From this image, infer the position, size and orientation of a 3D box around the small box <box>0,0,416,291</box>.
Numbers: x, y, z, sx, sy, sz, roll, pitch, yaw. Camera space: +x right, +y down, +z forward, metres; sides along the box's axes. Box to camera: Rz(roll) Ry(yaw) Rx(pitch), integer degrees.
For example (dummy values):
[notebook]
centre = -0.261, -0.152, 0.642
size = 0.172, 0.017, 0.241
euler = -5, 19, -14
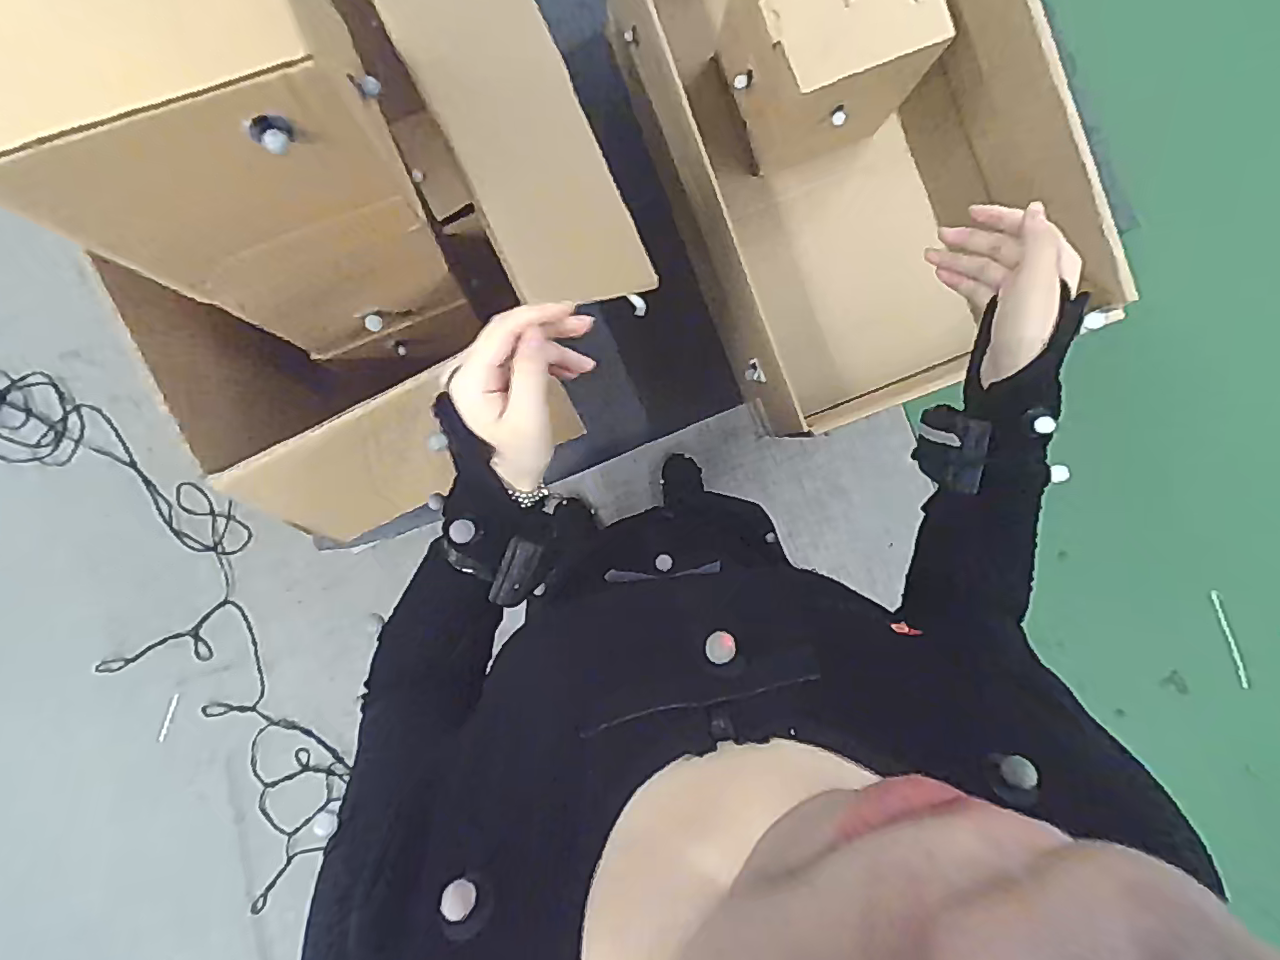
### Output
[small box]
centre = -0.269, -0.240, 0.326
size = 0.179, 0.176, 0.168
euler = -23, 92, -6
